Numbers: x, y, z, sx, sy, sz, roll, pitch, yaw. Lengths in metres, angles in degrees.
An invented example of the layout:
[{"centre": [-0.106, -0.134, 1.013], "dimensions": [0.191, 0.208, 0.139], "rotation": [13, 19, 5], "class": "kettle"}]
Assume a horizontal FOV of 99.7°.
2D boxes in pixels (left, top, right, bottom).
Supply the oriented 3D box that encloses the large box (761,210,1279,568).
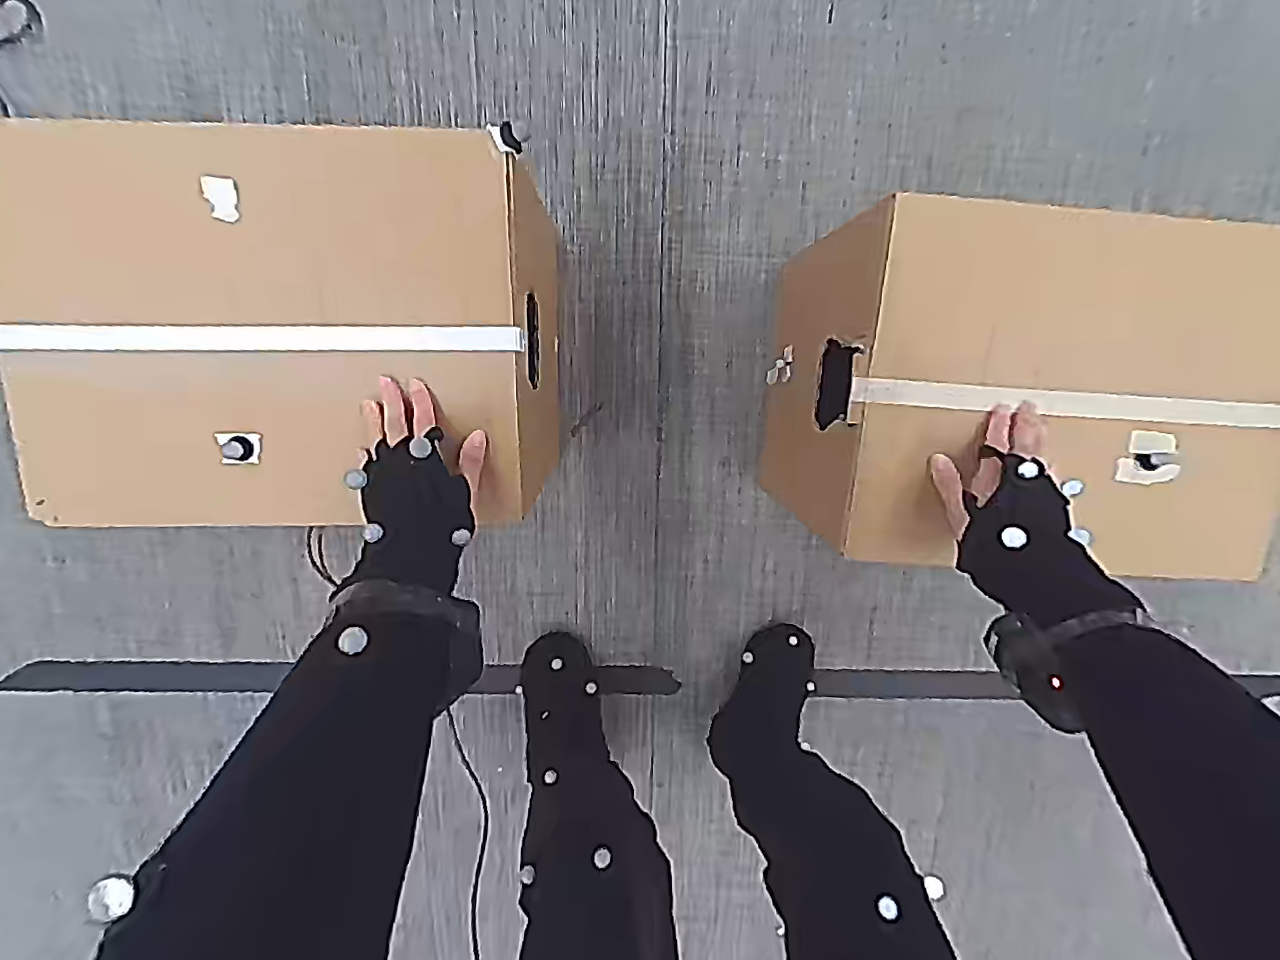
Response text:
[{"centre": [0.387, -0.098, 0.641], "dimensions": [0.408, 0.320, 0.320], "rotation": [3, 102, -4], "class": "large box"}]
